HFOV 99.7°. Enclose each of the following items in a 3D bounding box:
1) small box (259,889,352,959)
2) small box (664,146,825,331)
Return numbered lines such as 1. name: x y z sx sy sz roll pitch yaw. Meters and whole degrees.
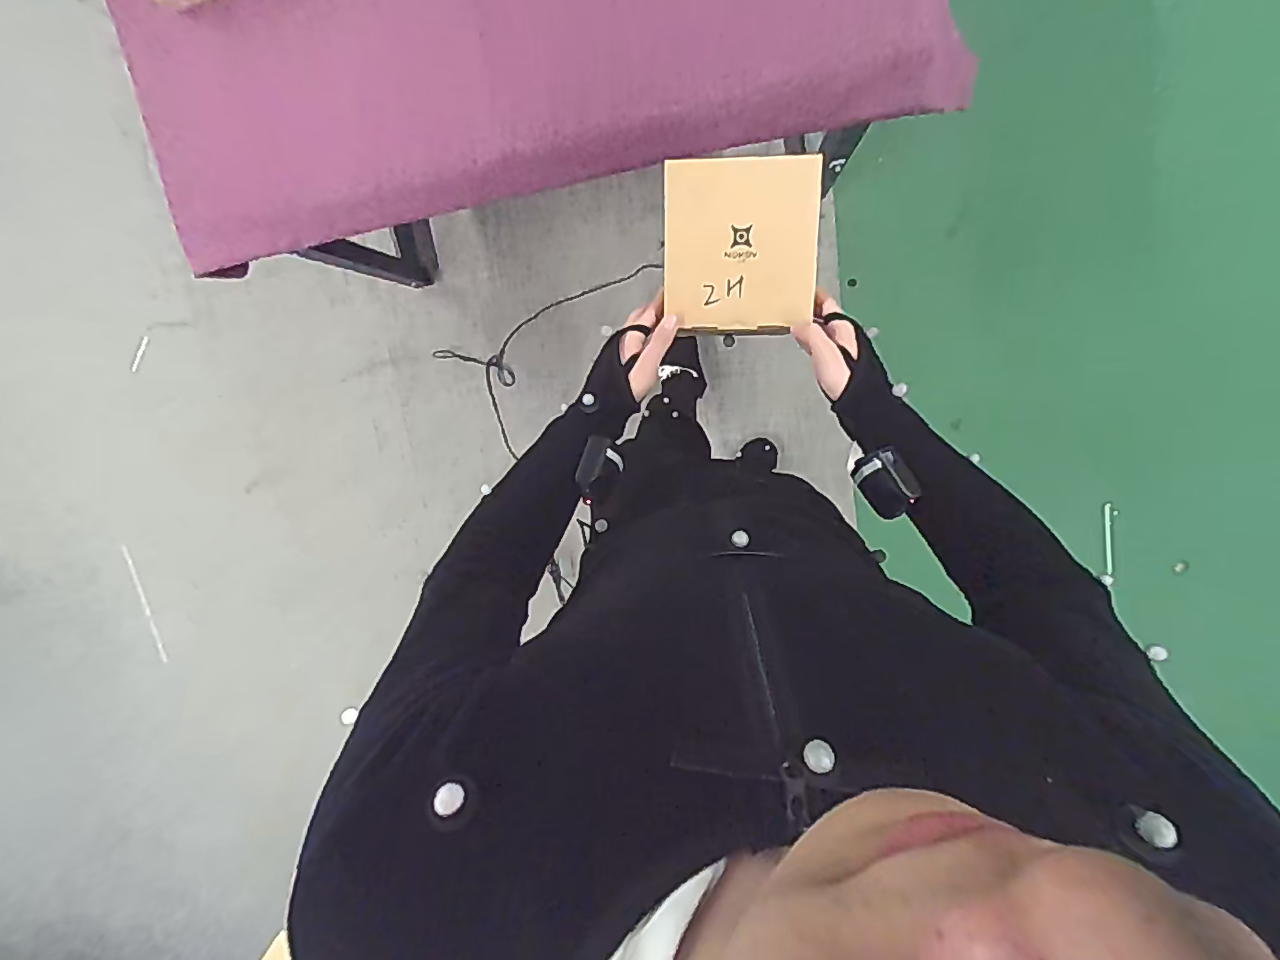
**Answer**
1. small box: -1.020 1.413 1.645 0.168 0.176 0.179 35 102 -1
2. small box: 0.115 -0.277 0.656 0.168 0.176 0.179 1 103 5
